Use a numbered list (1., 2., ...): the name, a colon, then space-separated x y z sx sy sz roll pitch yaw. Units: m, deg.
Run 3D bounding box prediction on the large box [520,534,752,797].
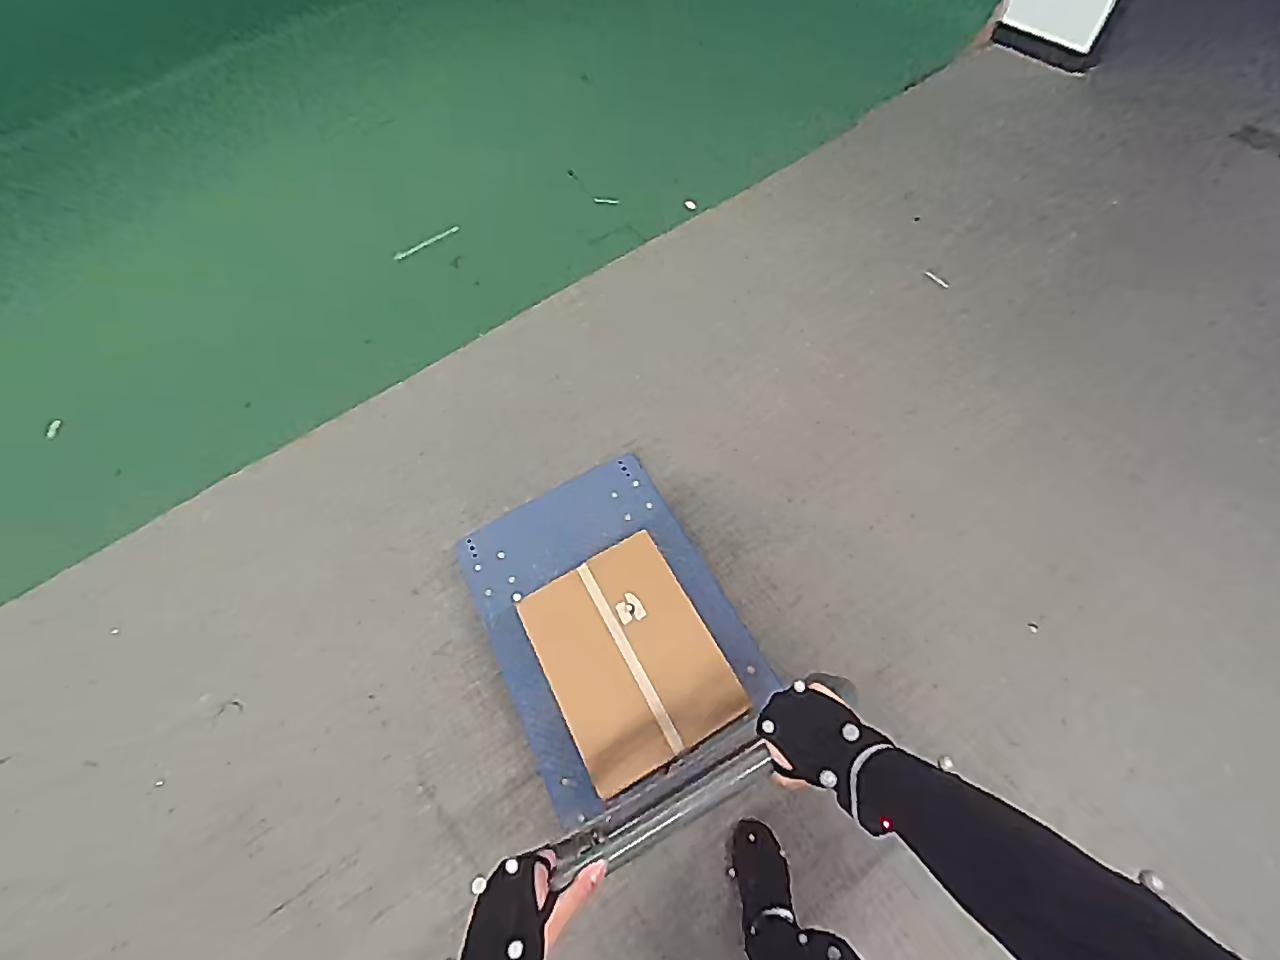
1. large box: -0.001 0.400 1.172 0.320 0.320 0.408 -28 62 -8
